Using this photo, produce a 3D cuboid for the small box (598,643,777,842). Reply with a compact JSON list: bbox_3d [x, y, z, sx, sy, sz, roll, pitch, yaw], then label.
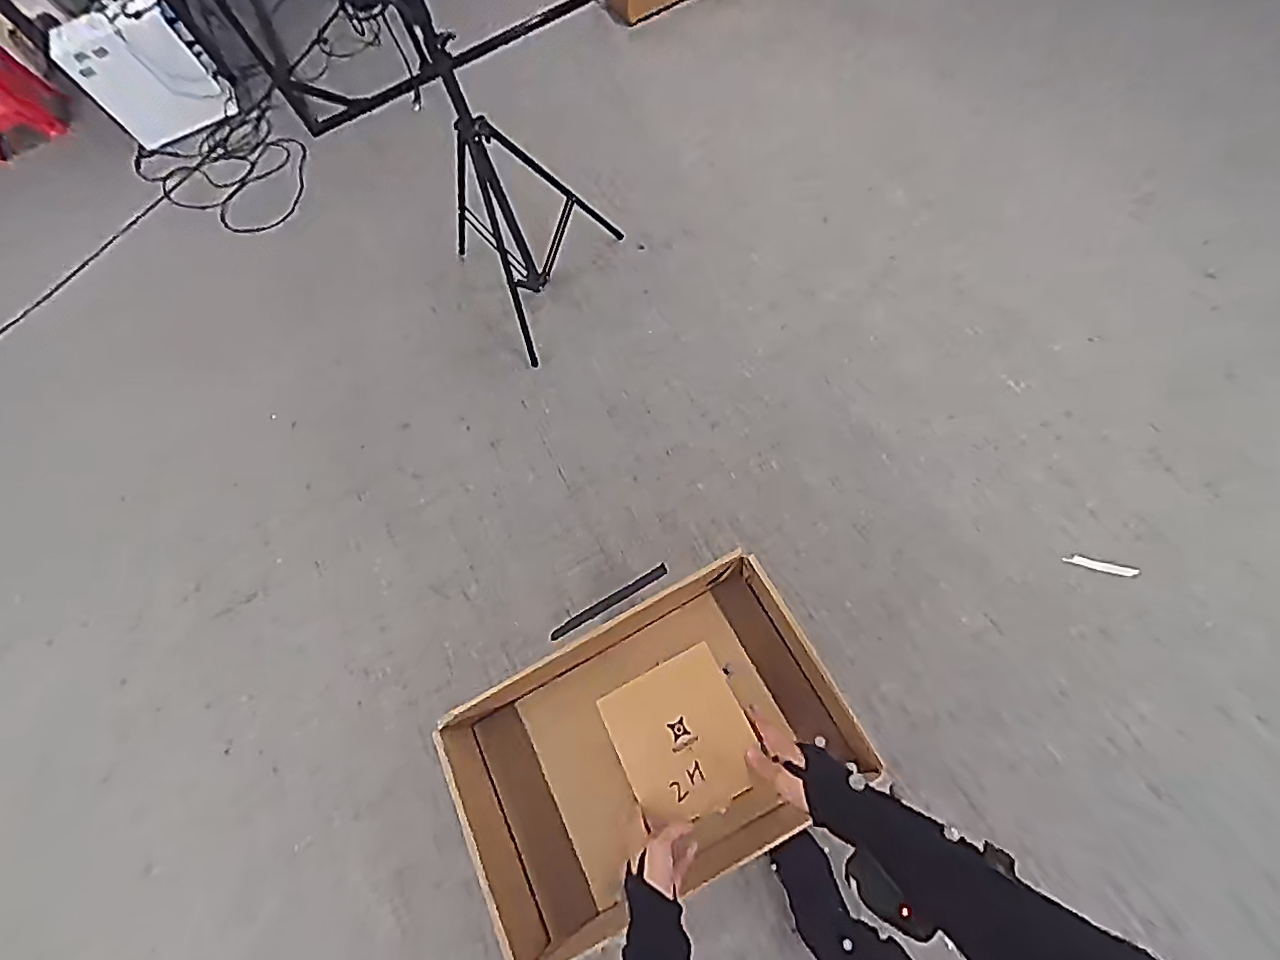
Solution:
[{"bbox_3d":[0.067,0.343,0.737,0.168,0.176,0.179,-30,68,1],"label":"small box"}]
